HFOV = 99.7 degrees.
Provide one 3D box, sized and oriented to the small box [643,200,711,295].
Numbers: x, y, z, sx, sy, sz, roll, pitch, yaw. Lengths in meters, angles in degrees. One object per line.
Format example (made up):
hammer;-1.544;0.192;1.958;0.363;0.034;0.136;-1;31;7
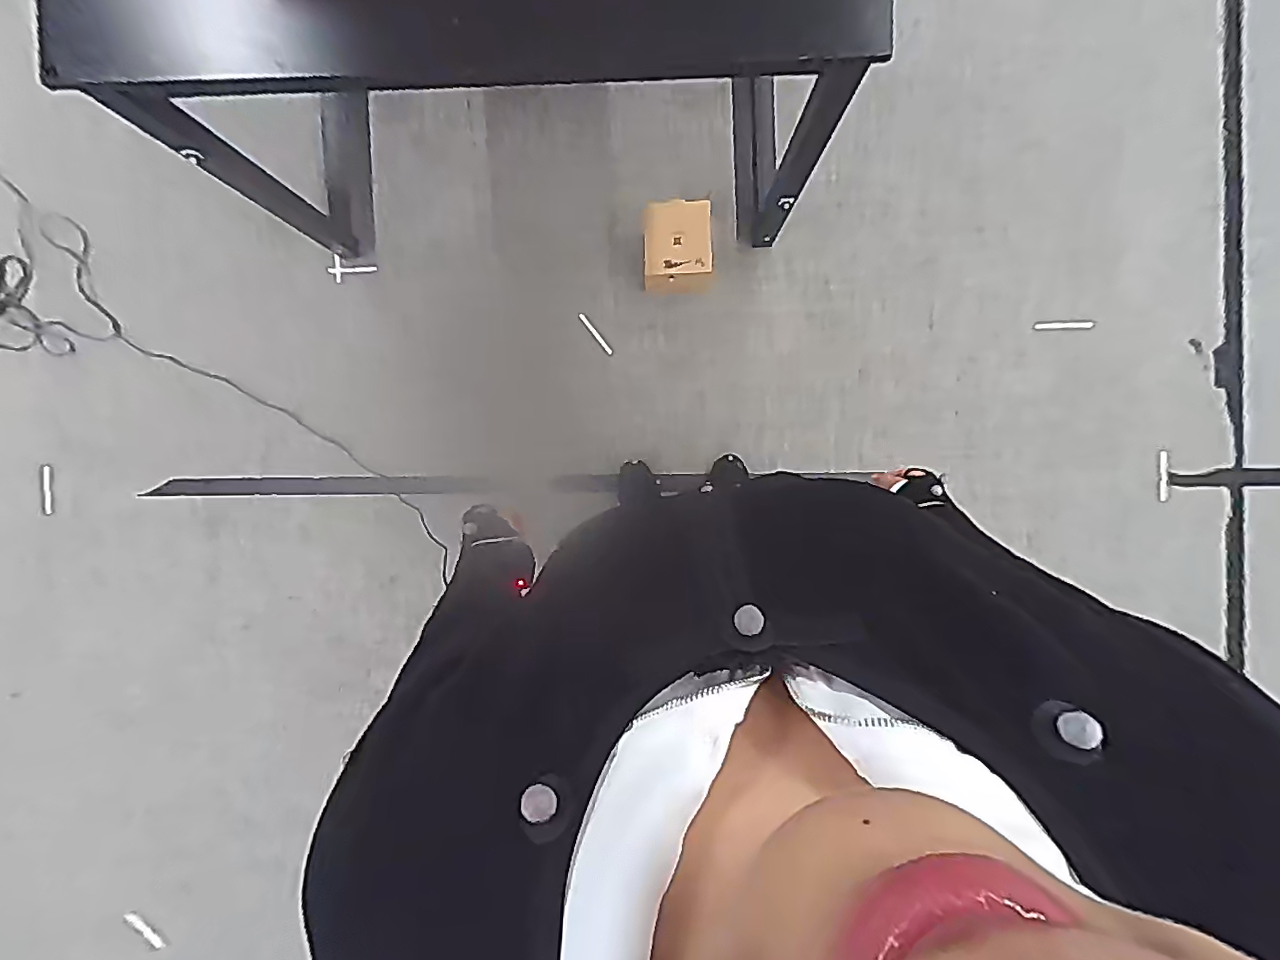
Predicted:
small box;0.091;-0.596;1.399;0.168;0.176;0.179;-2;92;2
